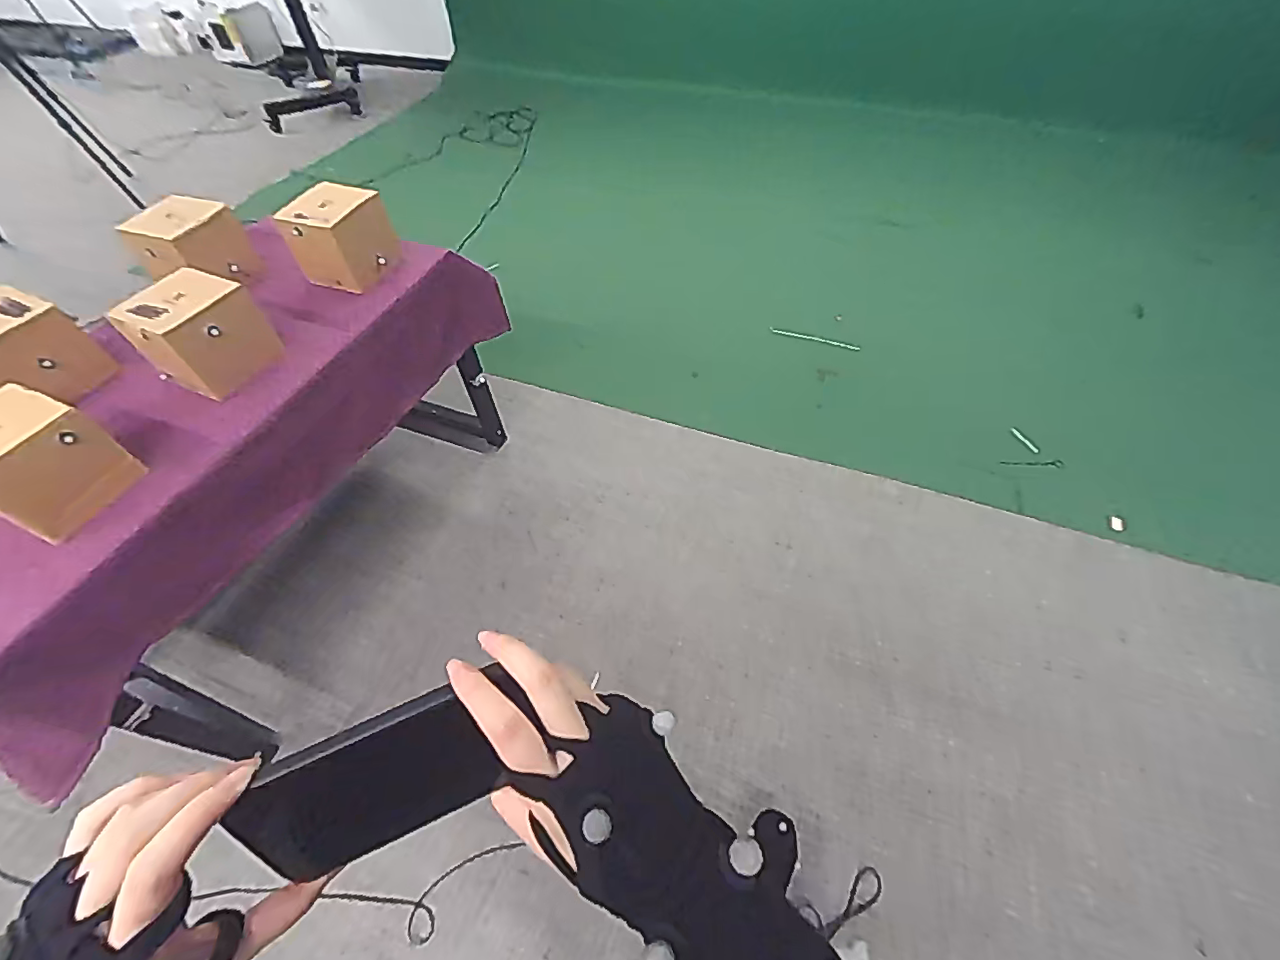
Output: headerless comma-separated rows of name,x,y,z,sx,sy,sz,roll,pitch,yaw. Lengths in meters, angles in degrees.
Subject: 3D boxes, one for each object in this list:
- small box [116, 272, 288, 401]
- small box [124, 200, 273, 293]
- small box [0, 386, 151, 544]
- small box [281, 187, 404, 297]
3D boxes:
small box,-0.869,-0.288,1.095,0.168,0.176,0.179,20,55,17
small box,-1.044,-0.541,1.294,0.179,0.176,0.168,15,56,13
small box,-0.991,-0.021,0.899,0.168,0.176,0.179,18,55,16
small box,-0.700,-0.572,1.302,0.168,0.176,0.179,16,55,15
